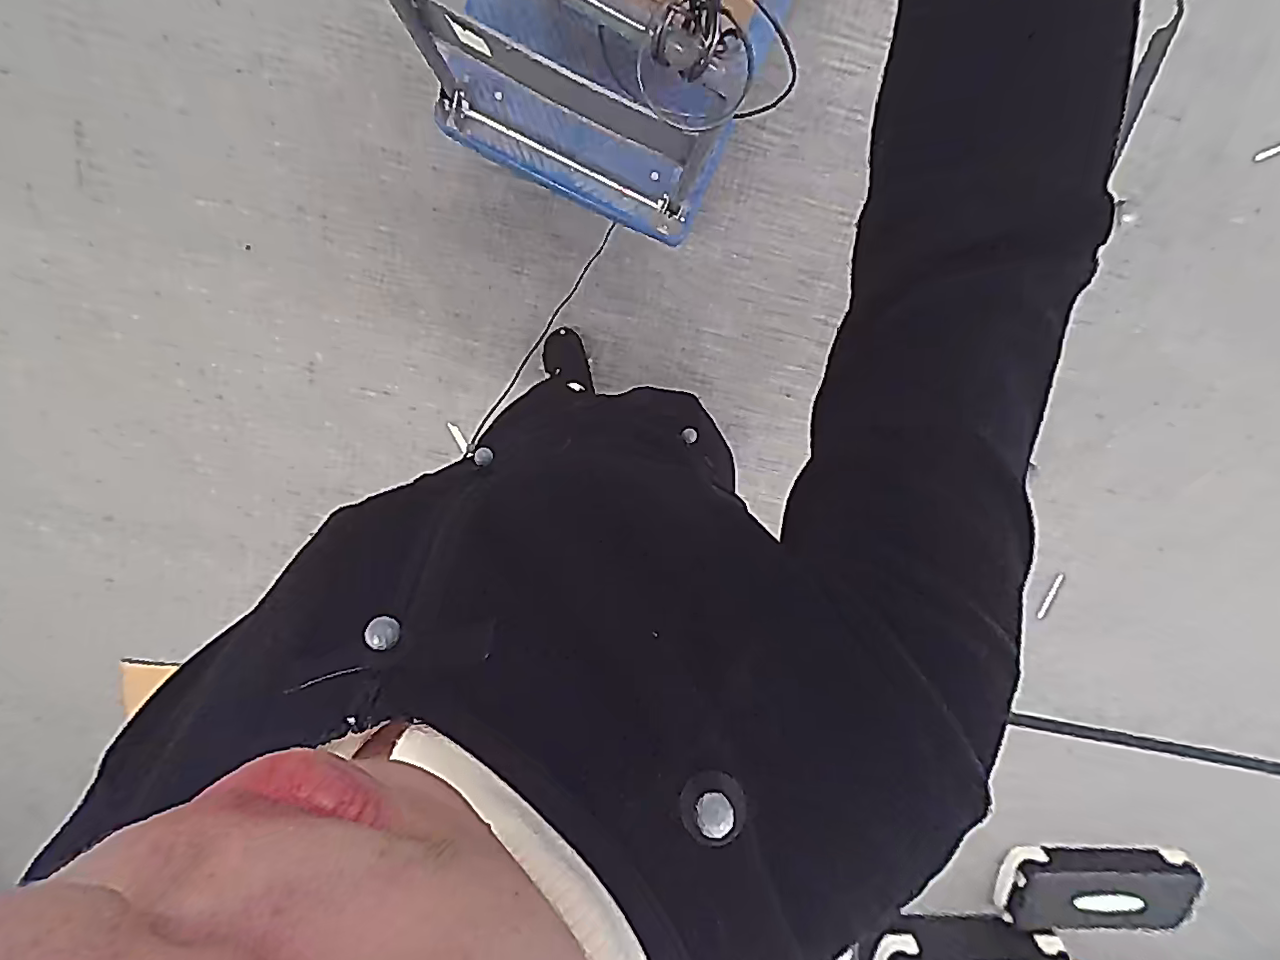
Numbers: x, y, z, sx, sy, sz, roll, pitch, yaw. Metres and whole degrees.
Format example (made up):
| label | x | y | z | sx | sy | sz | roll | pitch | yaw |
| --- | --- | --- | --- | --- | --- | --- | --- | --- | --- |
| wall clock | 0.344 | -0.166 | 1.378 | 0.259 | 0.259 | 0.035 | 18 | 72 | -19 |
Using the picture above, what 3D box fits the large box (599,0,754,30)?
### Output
| label | x | y | z | sx | sy | sz | roll | pitch | yaw |
| --- | --- | --- | --- | --- | --- | --- | --- | --- | --- |
| large box | 0.037 | -1.024 | 0.880 | 0.408 | 0.320 | 0.320 | 9 | 107 | -5 |
